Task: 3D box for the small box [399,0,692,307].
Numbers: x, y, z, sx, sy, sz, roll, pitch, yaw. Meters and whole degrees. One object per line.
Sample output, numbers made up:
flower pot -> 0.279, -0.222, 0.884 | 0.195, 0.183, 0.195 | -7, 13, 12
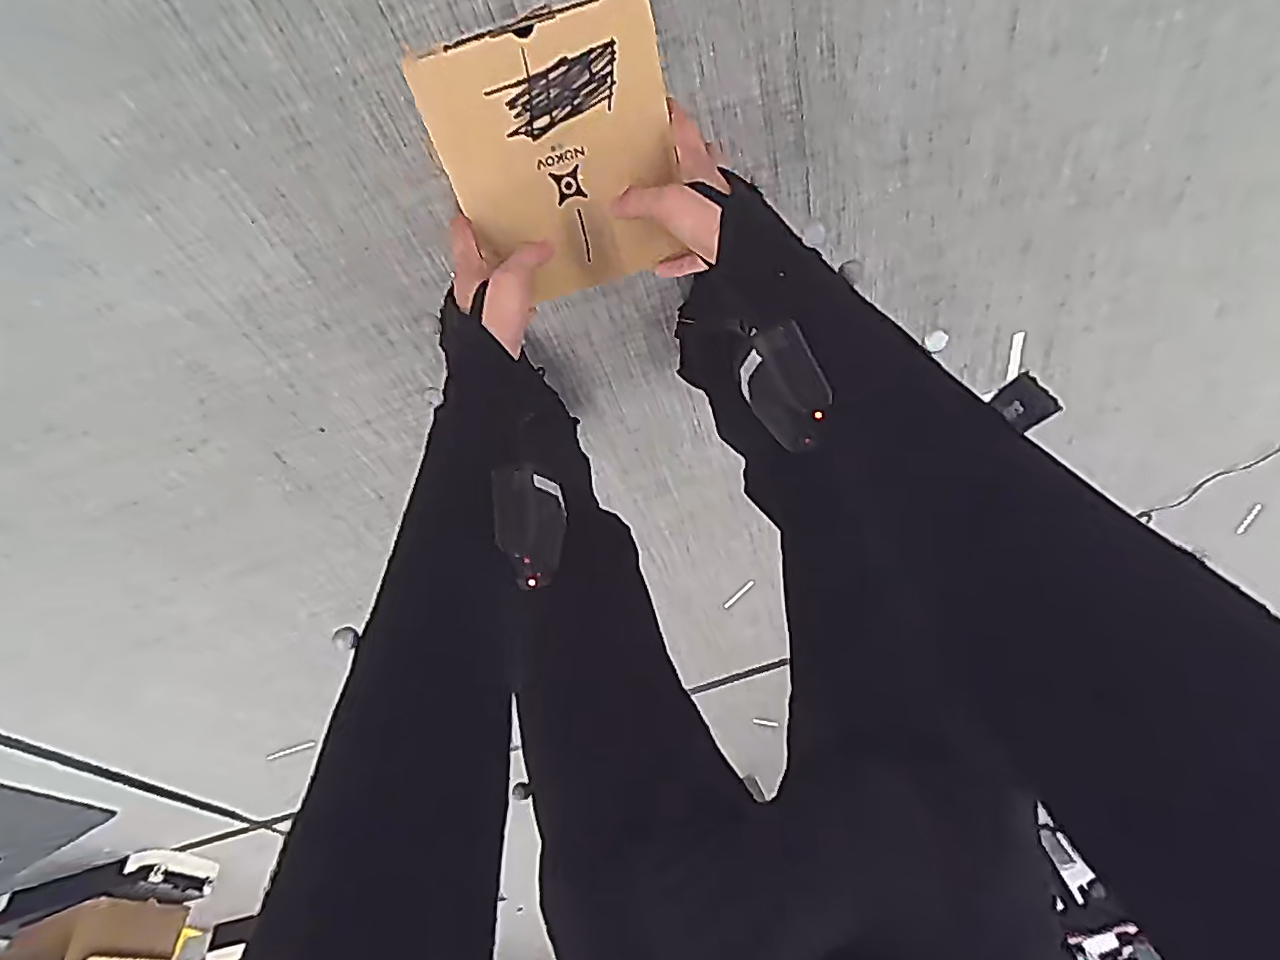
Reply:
small box -> -0.069, -0.276, 0.445 | 0.168, 0.176, 0.179 | -17, 132, 2
